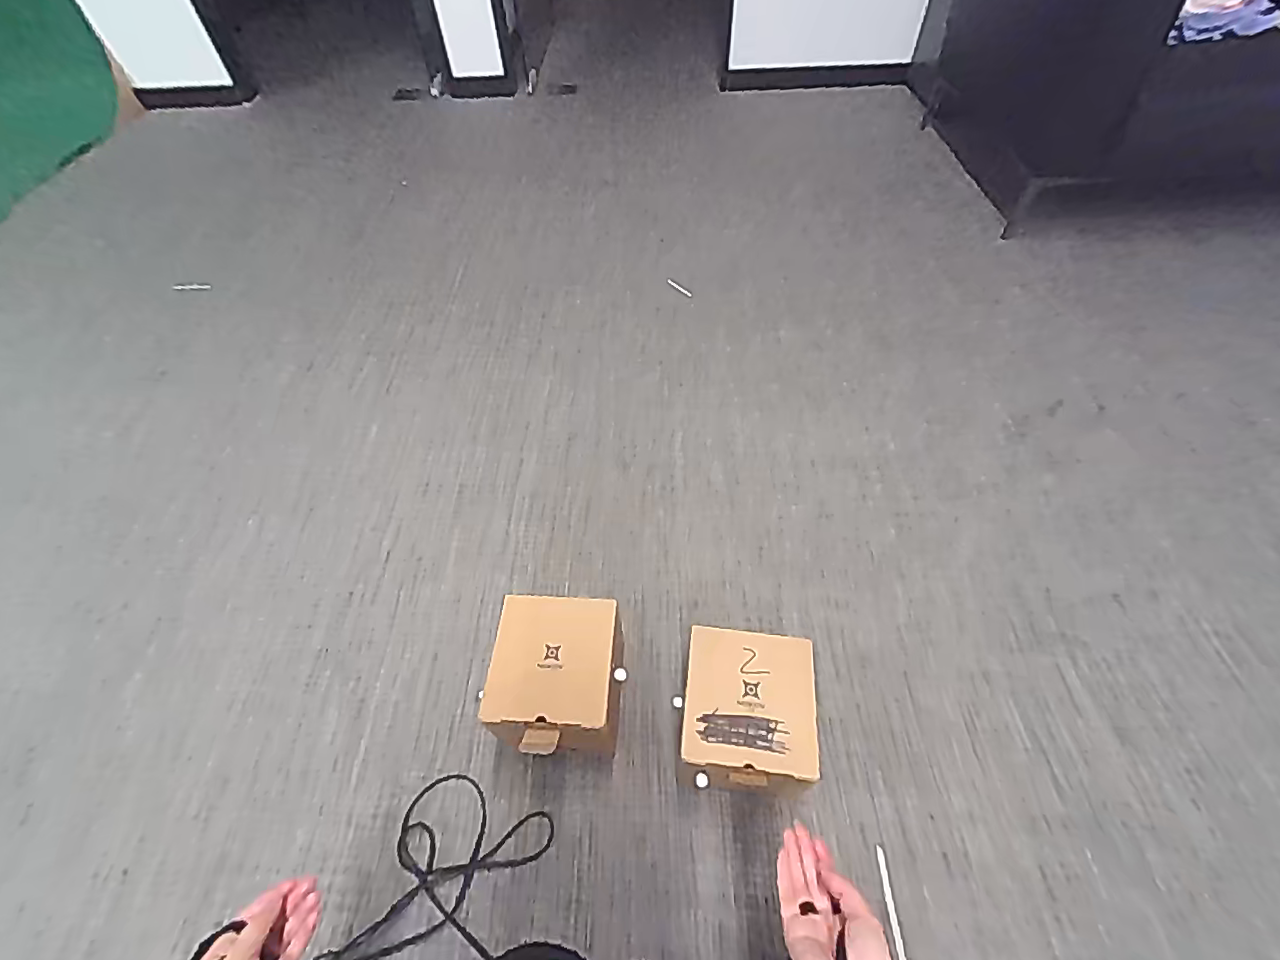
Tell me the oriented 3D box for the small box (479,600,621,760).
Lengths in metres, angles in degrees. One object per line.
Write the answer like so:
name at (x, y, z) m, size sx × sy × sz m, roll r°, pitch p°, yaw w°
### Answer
small box at (-0.118, 0.296, 0.798) m, size 0.168 × 0.176 × 0.179 m, roll 2°, pitch 53°, yaw 4°
